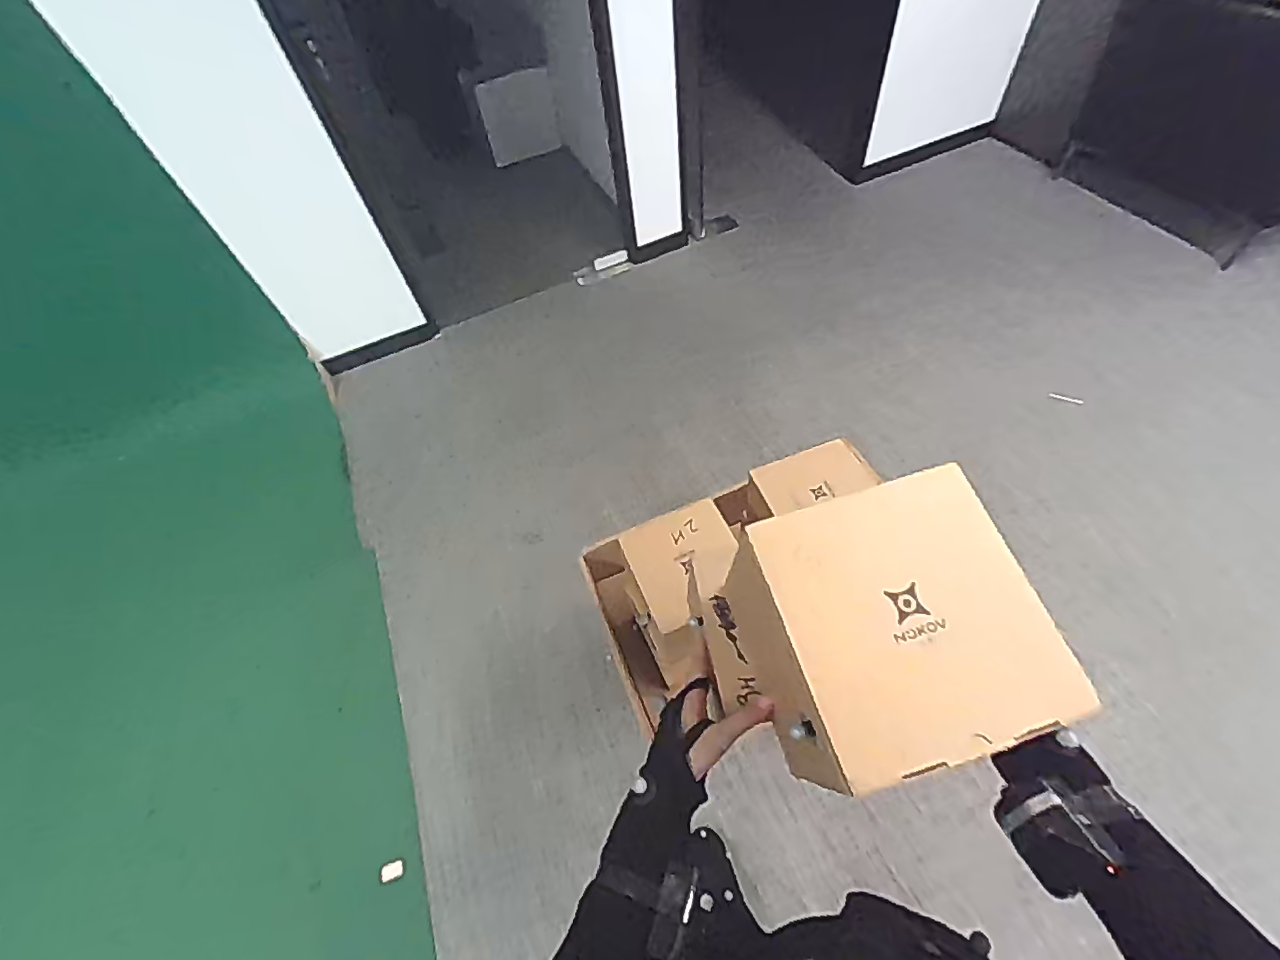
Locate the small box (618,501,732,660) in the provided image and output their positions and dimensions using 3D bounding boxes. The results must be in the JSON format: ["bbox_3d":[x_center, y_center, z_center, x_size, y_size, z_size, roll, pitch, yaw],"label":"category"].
[{"bbox_3d":[0.081,0.170,0.868,0.168,0.176,0.179,-22,55,-8],"label":"small box"}]

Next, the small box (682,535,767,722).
[{"bbox_3d":[0.146,0.157,0.580,0.179,0.176,0.168,-10,64,-1],"label":"small box"}]

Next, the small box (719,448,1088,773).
[{"bbox_3d":[0.169,0.106,0.421,0.168,0.176,0.179,-17,66,-4],"label":"small box"}]
